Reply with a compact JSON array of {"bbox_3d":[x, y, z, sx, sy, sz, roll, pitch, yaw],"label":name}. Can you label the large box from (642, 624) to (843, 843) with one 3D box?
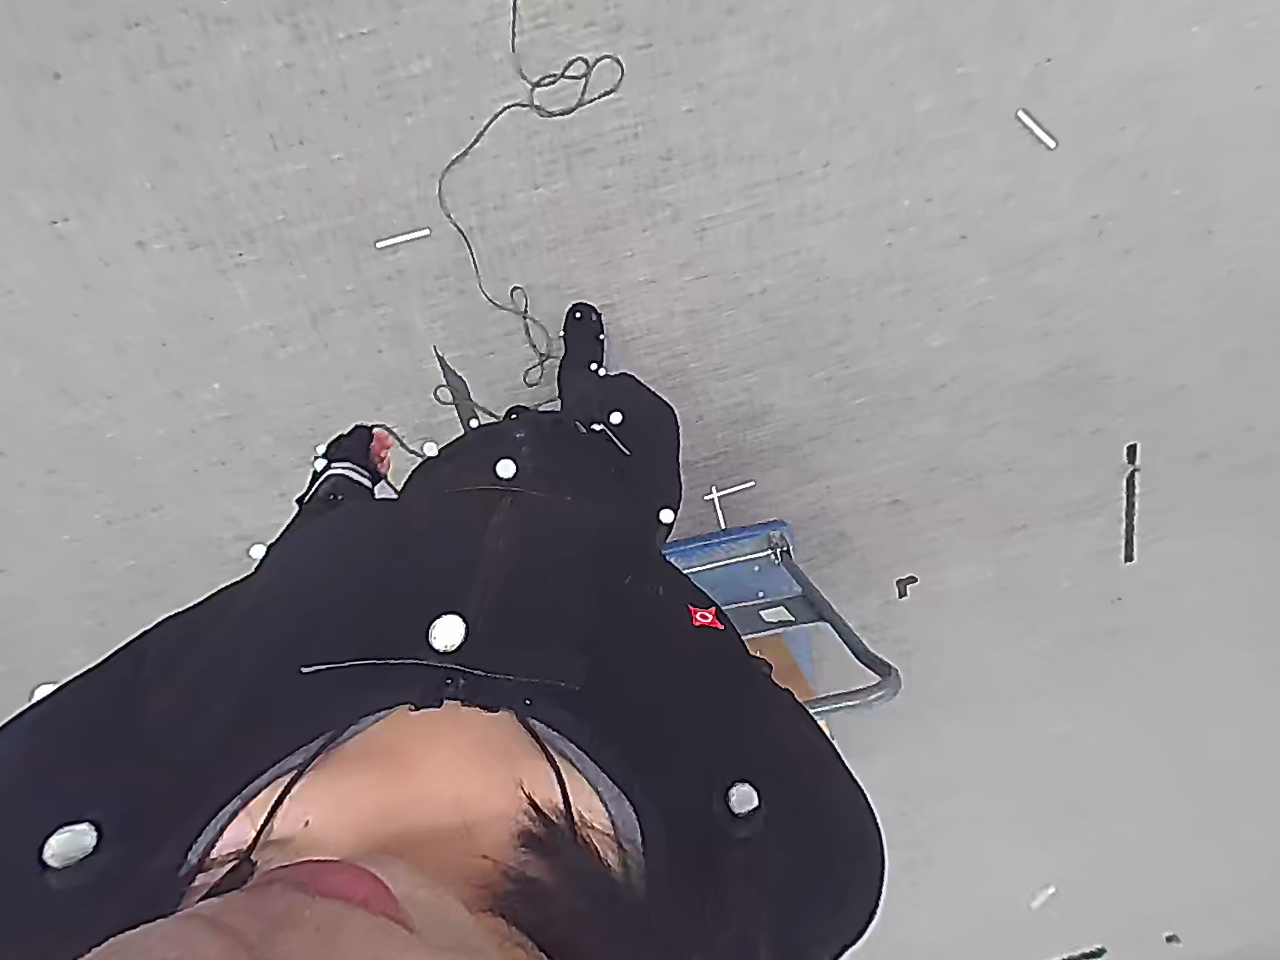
[{"bbox_3d":[0.246,0.637,1.403,0.408,0.320,0.320,-20,105,3],"label":"large box"}]
